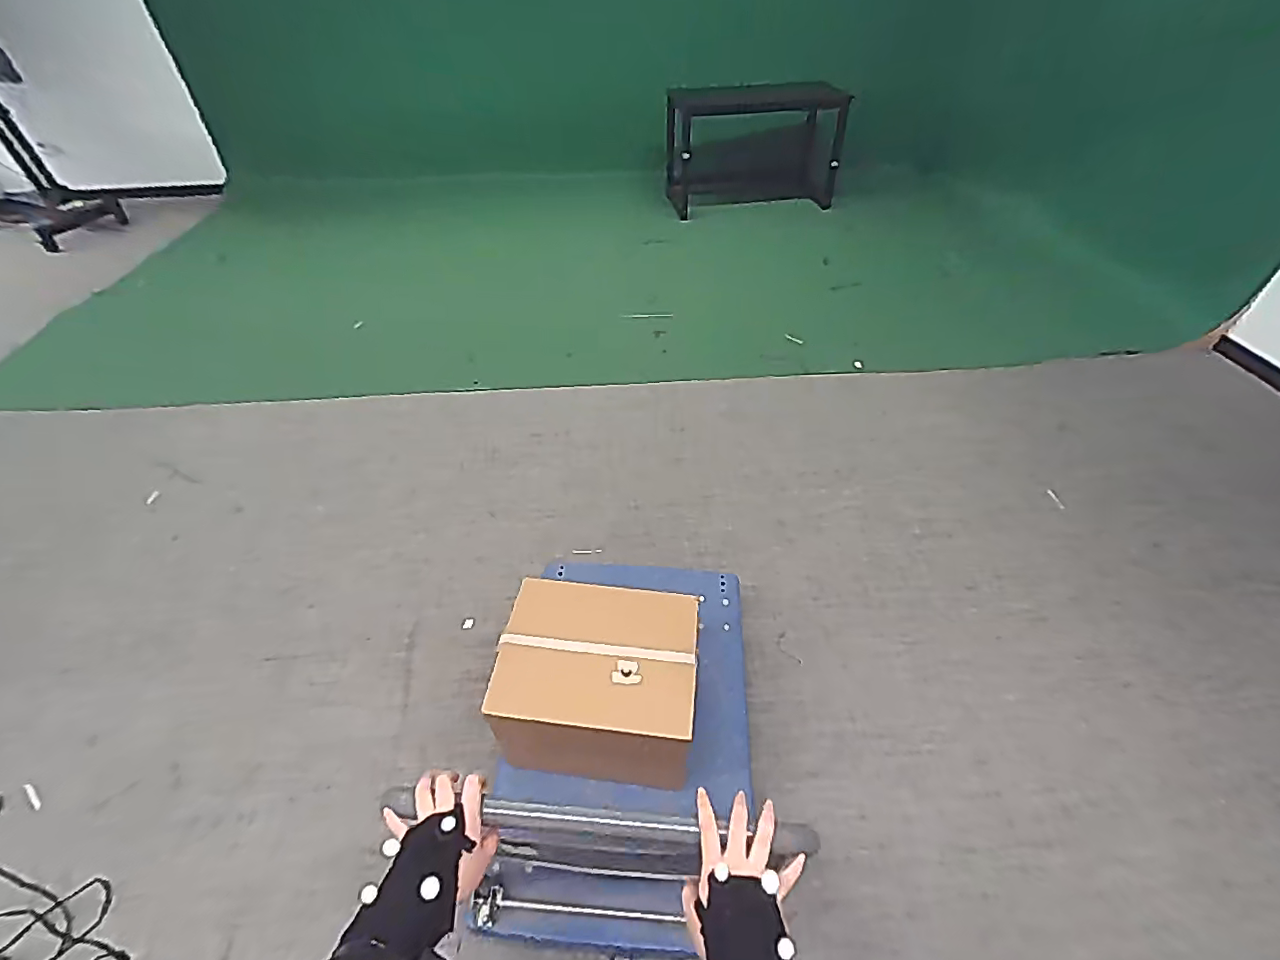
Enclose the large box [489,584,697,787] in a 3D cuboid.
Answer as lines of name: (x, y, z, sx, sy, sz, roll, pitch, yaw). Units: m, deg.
large box: (-0.087, 0.470, 1.240, 0.408, 0.320, 0.320, 5, 45, 4)
